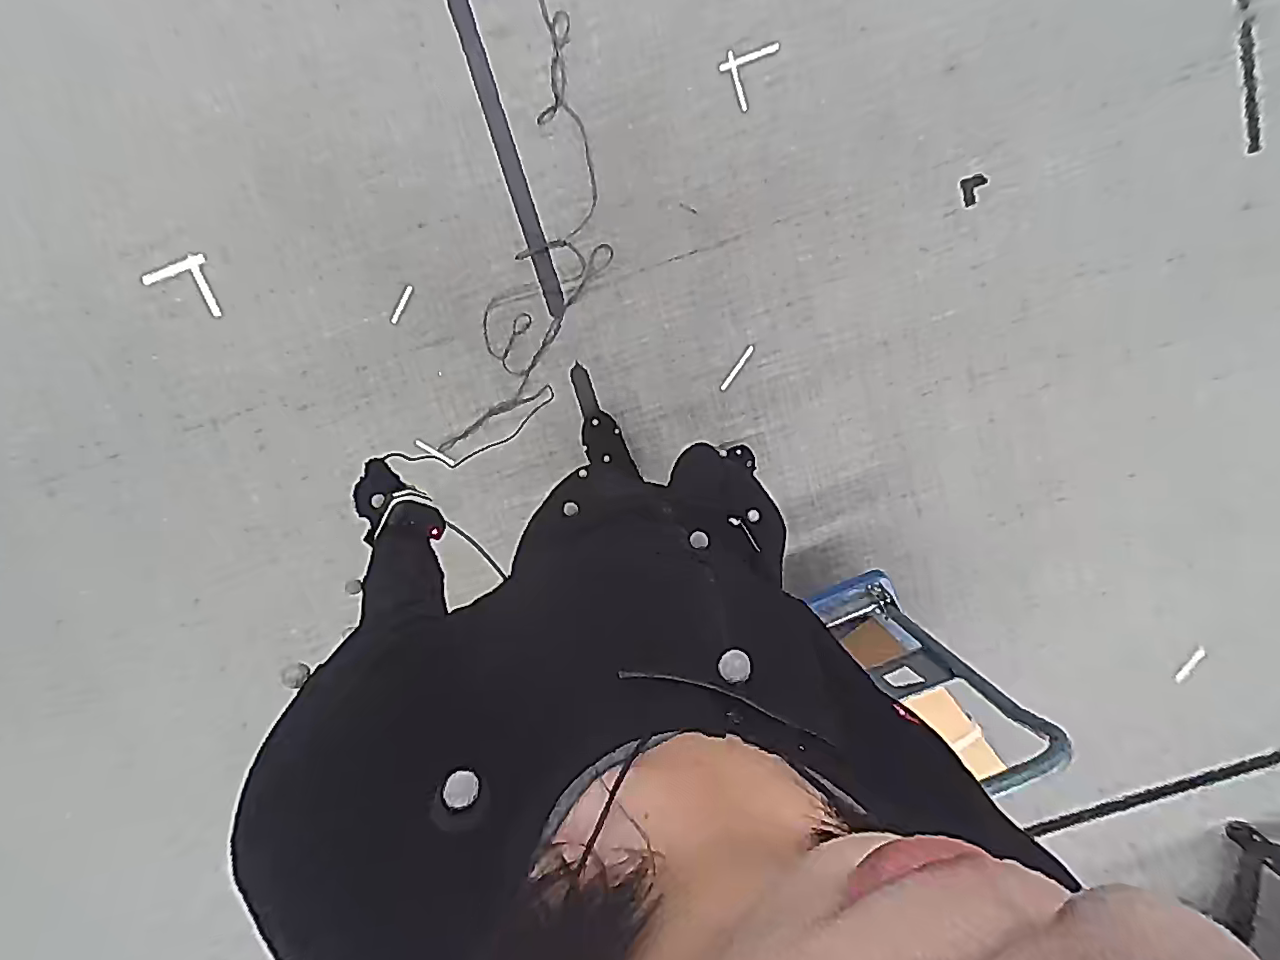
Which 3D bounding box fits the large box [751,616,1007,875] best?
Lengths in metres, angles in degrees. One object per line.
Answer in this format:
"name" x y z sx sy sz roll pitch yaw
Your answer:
"large box" 0.541 0.609 1.298 0.408 0.320 0.320 -39 98 6
